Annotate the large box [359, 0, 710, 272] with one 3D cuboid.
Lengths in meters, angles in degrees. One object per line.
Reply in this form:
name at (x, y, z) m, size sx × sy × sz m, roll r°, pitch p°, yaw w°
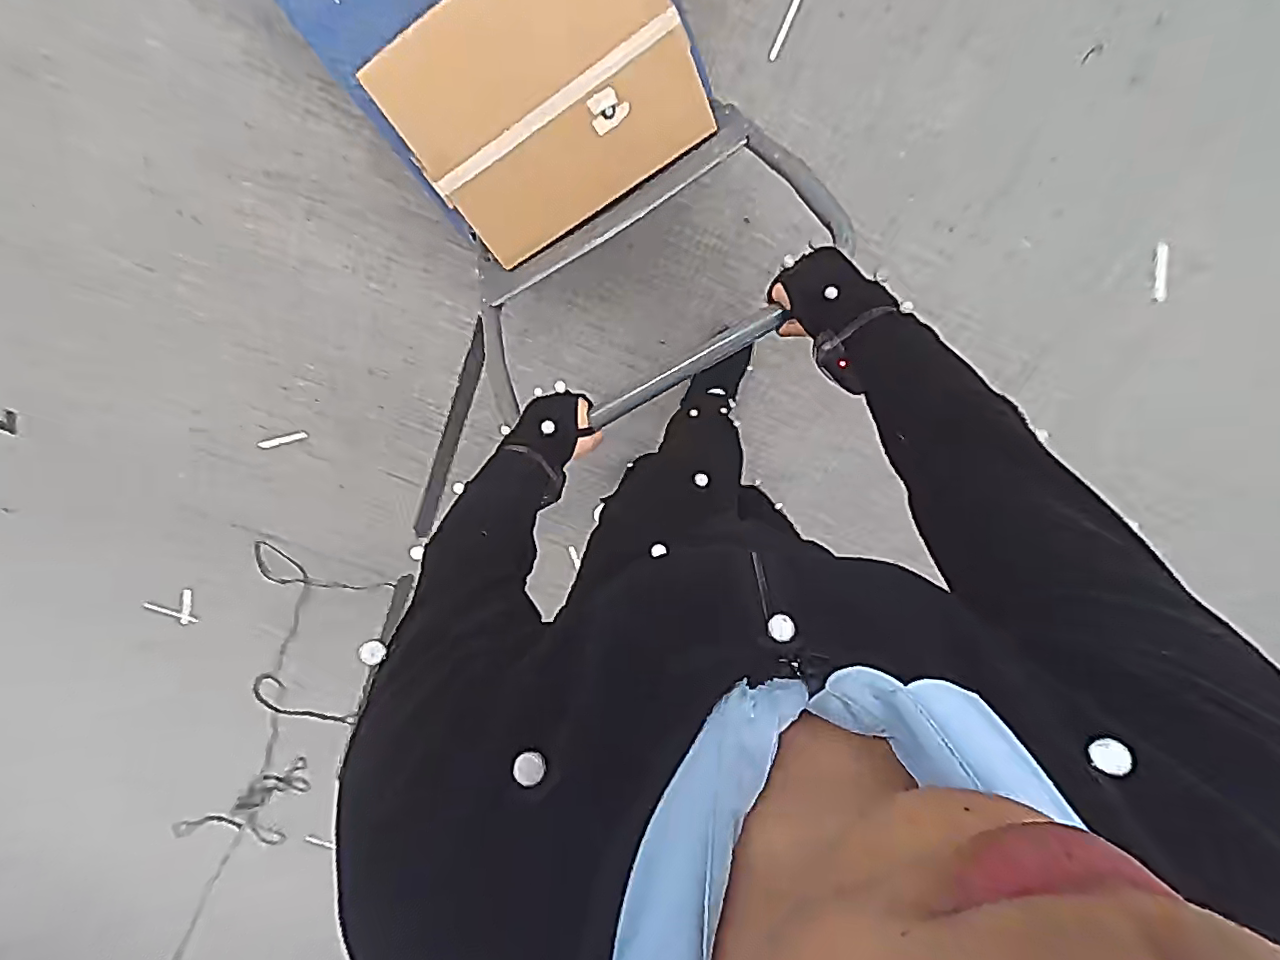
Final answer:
large box at (-0.164, -0.625, 0.868) m, size 0.408 × 0.320 × 0.320 m, roll -30°, pitch 134°, yaw 12°
